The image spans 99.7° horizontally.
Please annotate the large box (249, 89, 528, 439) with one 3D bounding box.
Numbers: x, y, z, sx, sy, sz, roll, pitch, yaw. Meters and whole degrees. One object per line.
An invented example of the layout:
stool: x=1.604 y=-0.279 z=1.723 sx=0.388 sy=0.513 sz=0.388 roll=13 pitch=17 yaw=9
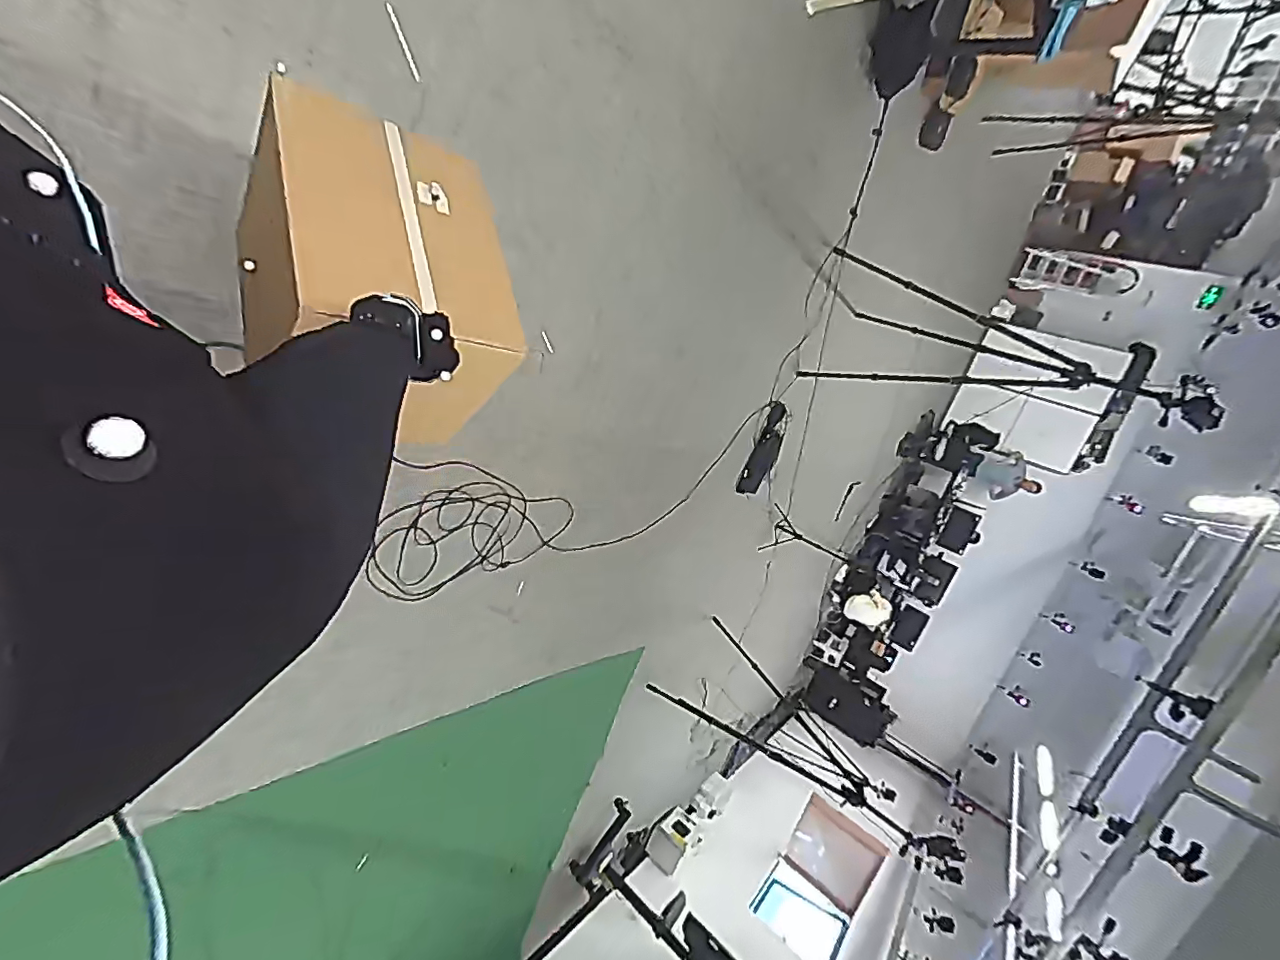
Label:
large box: x=-0.437 y=-0.314 z=0.907 sx=0.320 sy=0.408 sz=0.320 roll=0 pitch=155 yaw=-45
